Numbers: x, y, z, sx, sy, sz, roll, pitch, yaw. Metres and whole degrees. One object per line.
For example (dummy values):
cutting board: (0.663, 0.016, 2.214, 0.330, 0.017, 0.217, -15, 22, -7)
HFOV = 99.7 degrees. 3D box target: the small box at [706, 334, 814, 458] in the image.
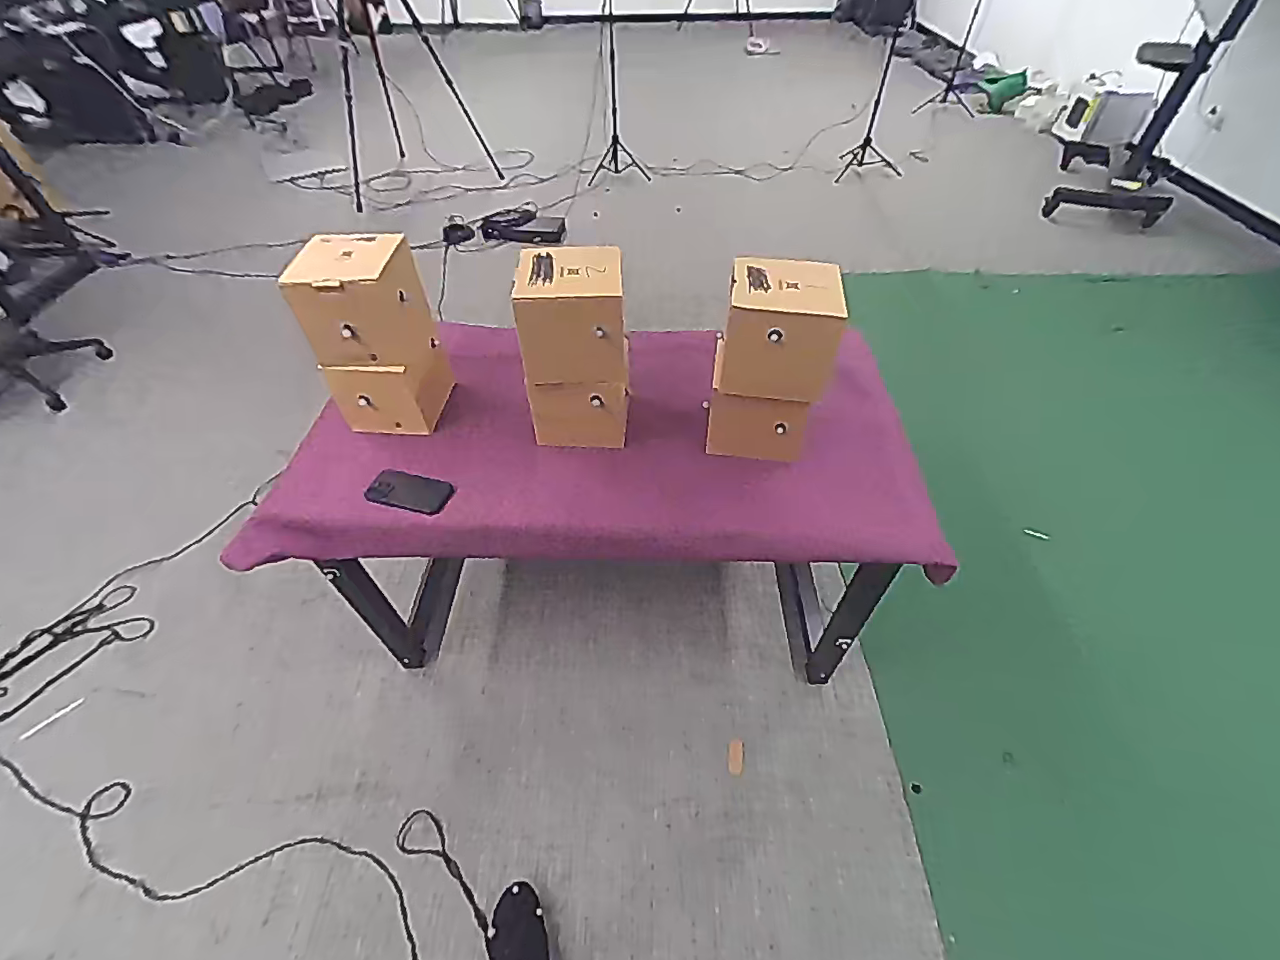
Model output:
small box: (0.229, -0.160, 1.048, 0.179, 0.176, 0.168, 7, 49, 8)

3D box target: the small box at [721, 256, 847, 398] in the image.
small box: (0.235, -0.256, 0.915, 0.179, 0.176, 0.168, 7, 49, 6)

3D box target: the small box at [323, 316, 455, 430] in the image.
small box: (-0.499, -0.219, 1.107, 0.168, 0.176, 0.179, 3, 49, 3)

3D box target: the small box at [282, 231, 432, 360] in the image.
small box: (-0.500, -0.333, 0.989, 0.168, 0.176, 0.179, 0, 49, -1)

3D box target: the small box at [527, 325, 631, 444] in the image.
small box: (-0.110, -0.186, 1.073, 0.179, 0.176, 0.168, 2, 49, 3)
